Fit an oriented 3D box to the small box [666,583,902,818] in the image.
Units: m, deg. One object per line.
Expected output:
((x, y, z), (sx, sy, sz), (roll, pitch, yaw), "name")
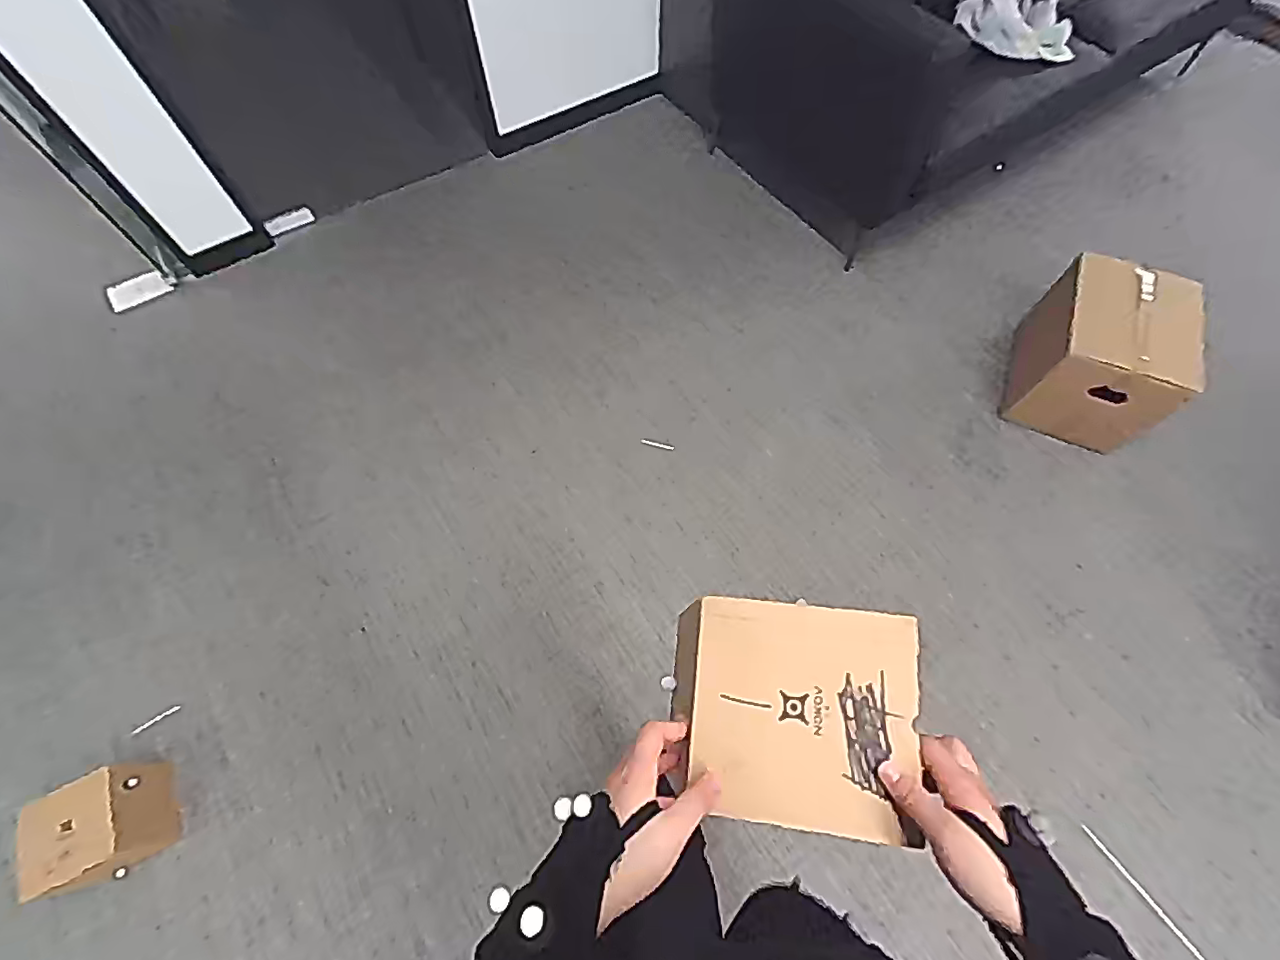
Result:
((0.126, 0.204, 0.524), (0.179, 0.176, 0.168), (8, 70, 0), "small box")

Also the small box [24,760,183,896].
((-1.102, 0.709, 1.122), (0.168, 0.176, 0.179), (-26, 66, -12), "small box")
